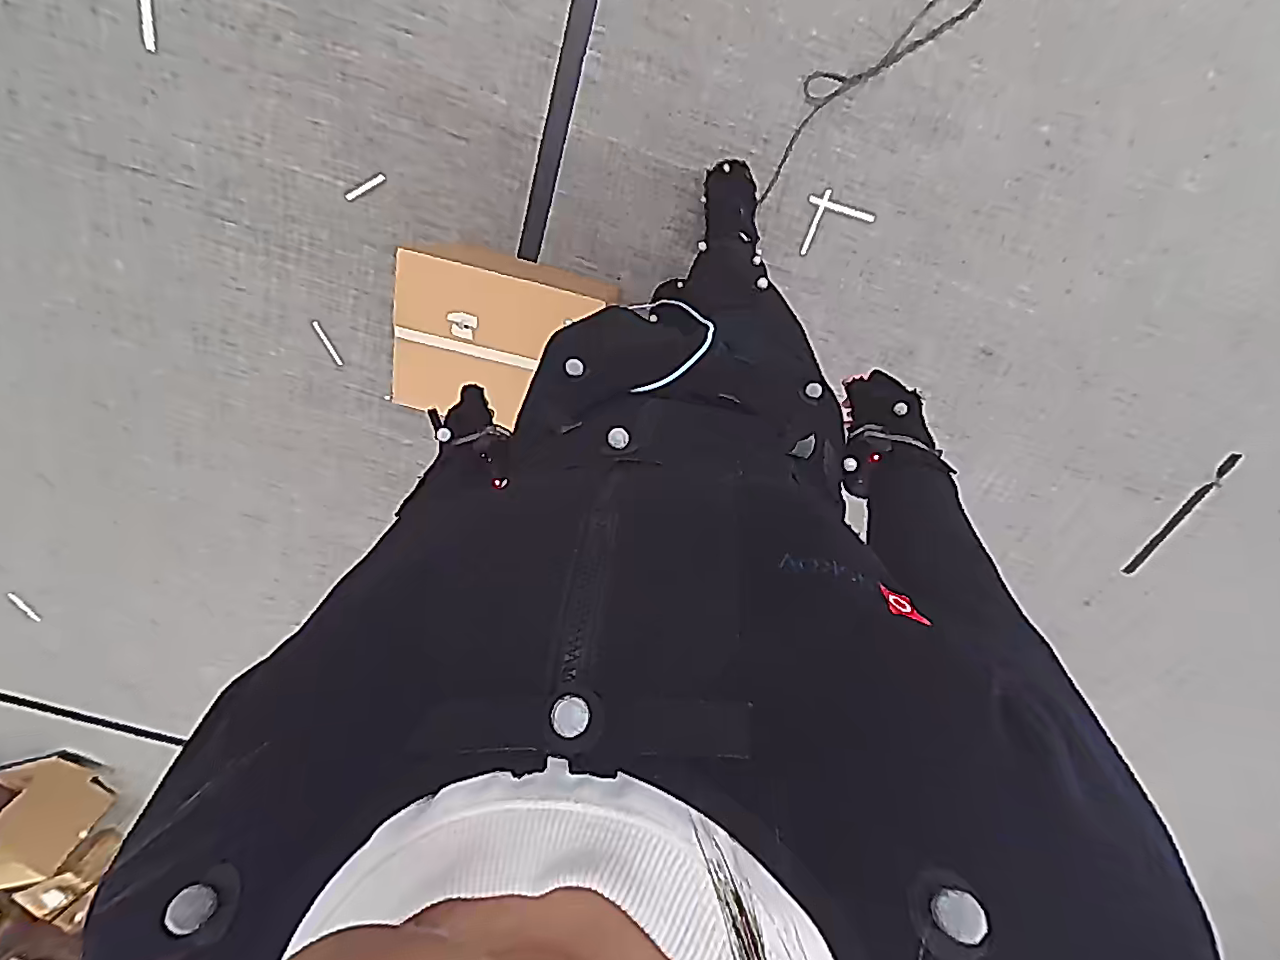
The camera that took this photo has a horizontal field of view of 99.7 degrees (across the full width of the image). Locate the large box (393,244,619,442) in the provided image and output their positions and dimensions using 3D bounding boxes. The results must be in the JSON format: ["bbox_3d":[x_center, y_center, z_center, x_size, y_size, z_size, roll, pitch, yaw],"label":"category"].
[{"bbox_3d":[-0.284,-0.319,1.215,0.408,0.320,0.320,14,114,-2],"label":"large box"}]
